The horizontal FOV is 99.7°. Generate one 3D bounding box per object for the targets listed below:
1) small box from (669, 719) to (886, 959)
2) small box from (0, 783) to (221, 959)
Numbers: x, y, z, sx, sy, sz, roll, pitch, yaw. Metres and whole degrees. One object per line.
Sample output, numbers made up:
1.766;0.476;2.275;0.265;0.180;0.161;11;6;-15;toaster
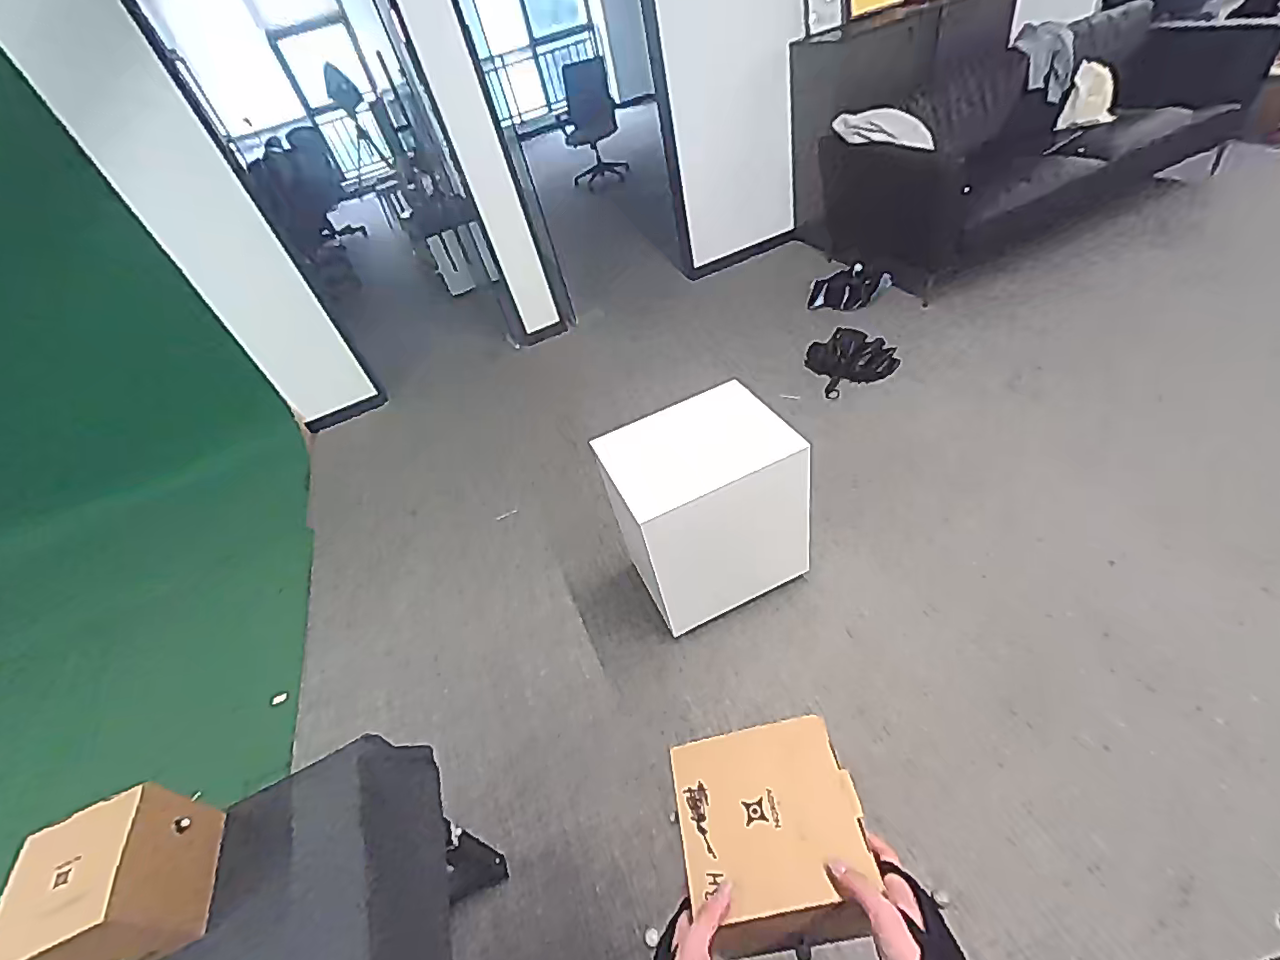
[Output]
0.141;0.390;0.585;0.179;0.176;0.168;-15;39;5;small box
-0.744;0.577;0.767;0.168;0.176;0.179;-24;44;-7;small box
